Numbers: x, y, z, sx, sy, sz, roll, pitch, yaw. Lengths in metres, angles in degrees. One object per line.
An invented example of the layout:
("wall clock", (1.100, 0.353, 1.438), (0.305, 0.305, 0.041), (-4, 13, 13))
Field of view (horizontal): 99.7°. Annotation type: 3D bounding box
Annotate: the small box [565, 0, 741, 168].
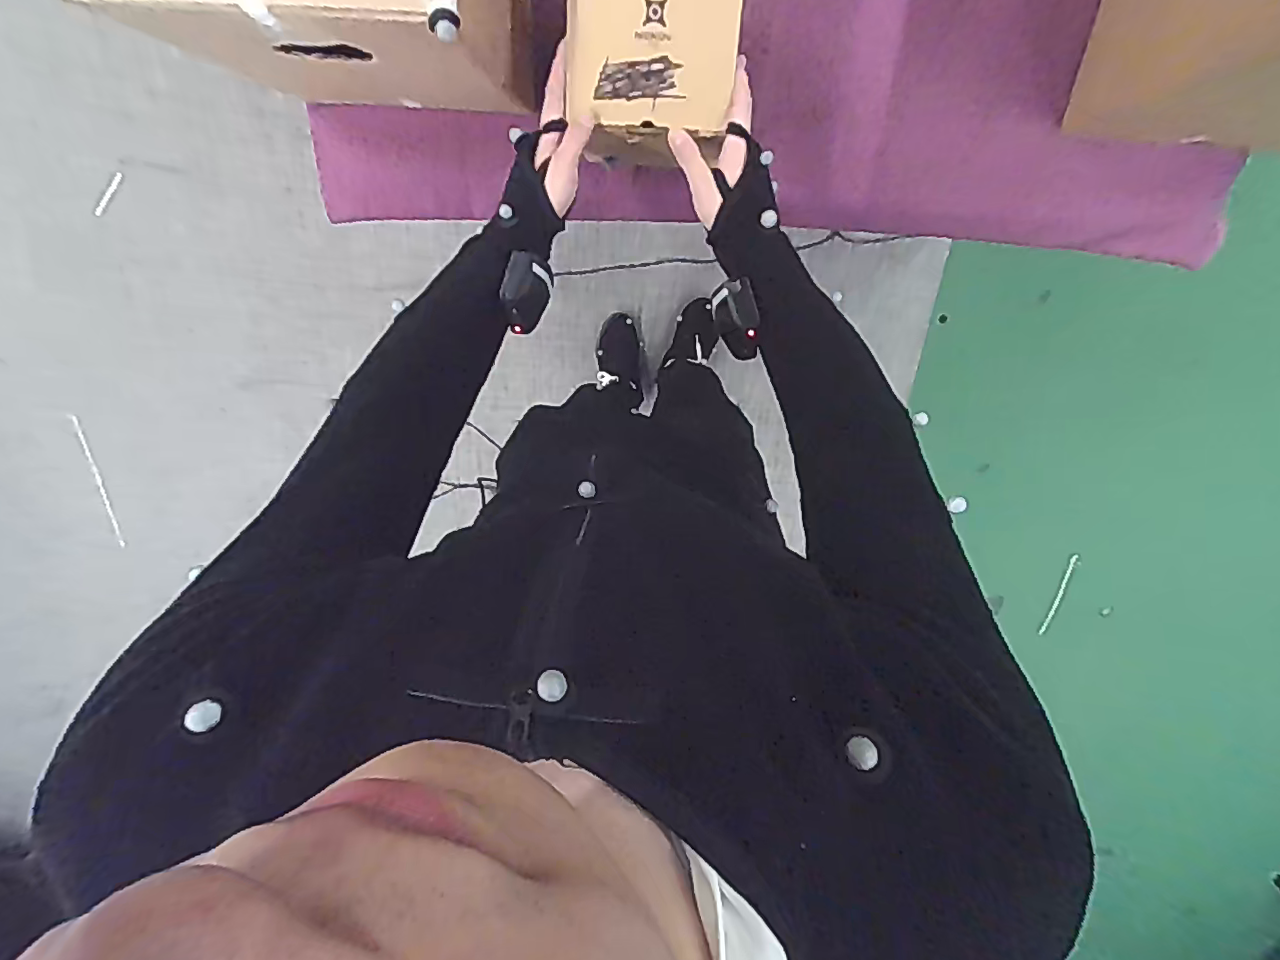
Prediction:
("small box", (0.015, -0.452, 0.584), (0.168, 0.176, 0.179), (4, 109, 1))
